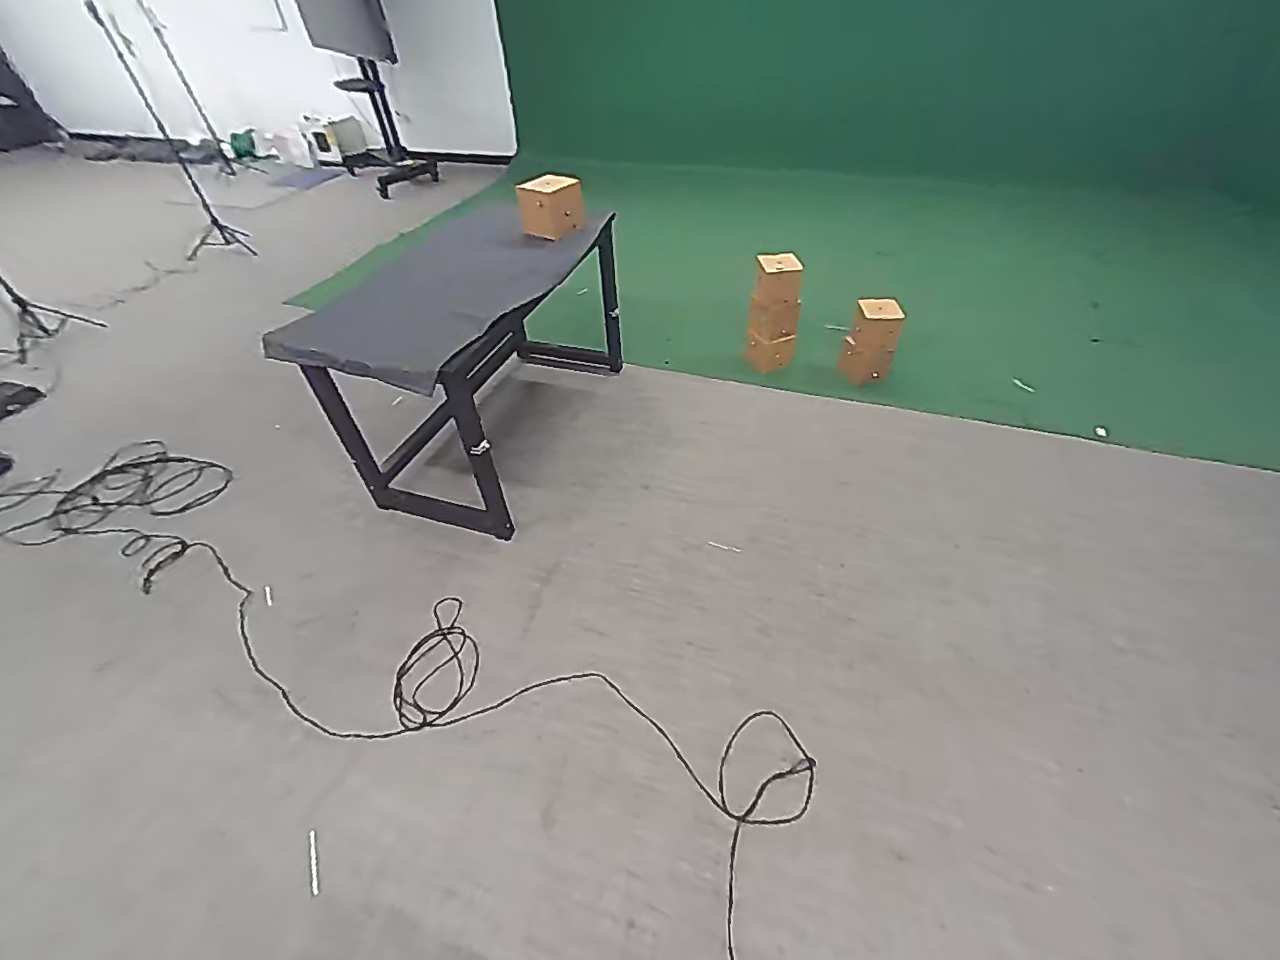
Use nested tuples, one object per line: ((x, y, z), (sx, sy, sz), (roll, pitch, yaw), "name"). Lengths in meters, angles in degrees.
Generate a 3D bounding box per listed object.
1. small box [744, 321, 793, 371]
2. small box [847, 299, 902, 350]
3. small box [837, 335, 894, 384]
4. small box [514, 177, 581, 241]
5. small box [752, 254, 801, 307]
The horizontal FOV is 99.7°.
((0.625, -0.649, 2.646), (0.168, 0.176, 0.179), (-20, 46, -15), "small box")
((1.051, -0.697, 2.432), (0.168, 0.176, 0.179), (0, 44, 2), "small box")
((1.052, -0.576, 2.541), (0.168, 0.176, 0.179), (-15, 46, -11), "small box")
((-0.342, -1.020, 2.037), (0.179, 0.176, 0.168), (27, 52, 30), "small box")
((0.608, -0.898, 2.431), (0.168, 0.176, 0.179), (-6, 44, -2), "small box")
